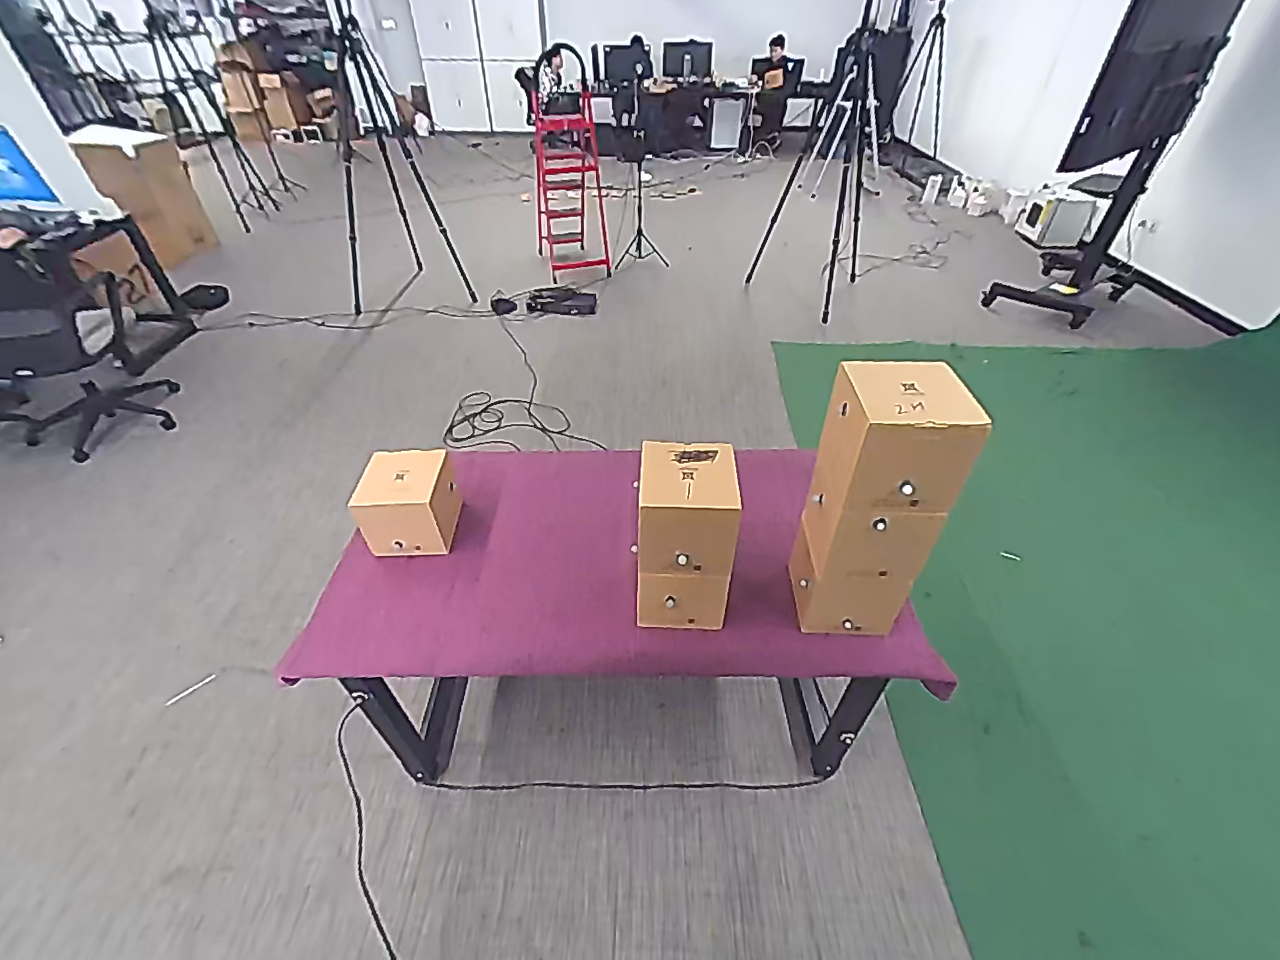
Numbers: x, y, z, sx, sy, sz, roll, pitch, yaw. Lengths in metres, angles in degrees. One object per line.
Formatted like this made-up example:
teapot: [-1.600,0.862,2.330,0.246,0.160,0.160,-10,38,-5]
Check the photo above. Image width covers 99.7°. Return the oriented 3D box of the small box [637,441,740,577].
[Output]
small box: [0.082,0.050,0.968,0.168,0.176,0.179,1,41,2]

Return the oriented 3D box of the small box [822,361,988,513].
small box: [0.396,-0.069,0.848,0.168,0.176,0.179,1,42,3]

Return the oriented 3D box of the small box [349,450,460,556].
small box: [-0.514,0.050,1.213,0.168,0.176,0.179,-2,43,-2]

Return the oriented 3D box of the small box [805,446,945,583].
small box: [0.398,0.058,0.954,0.168,0.176,0.179,1,40,4]

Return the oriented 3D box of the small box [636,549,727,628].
small box: [0.080,0.176,1.074,0.168,0.176,0.179,1,40,2]
